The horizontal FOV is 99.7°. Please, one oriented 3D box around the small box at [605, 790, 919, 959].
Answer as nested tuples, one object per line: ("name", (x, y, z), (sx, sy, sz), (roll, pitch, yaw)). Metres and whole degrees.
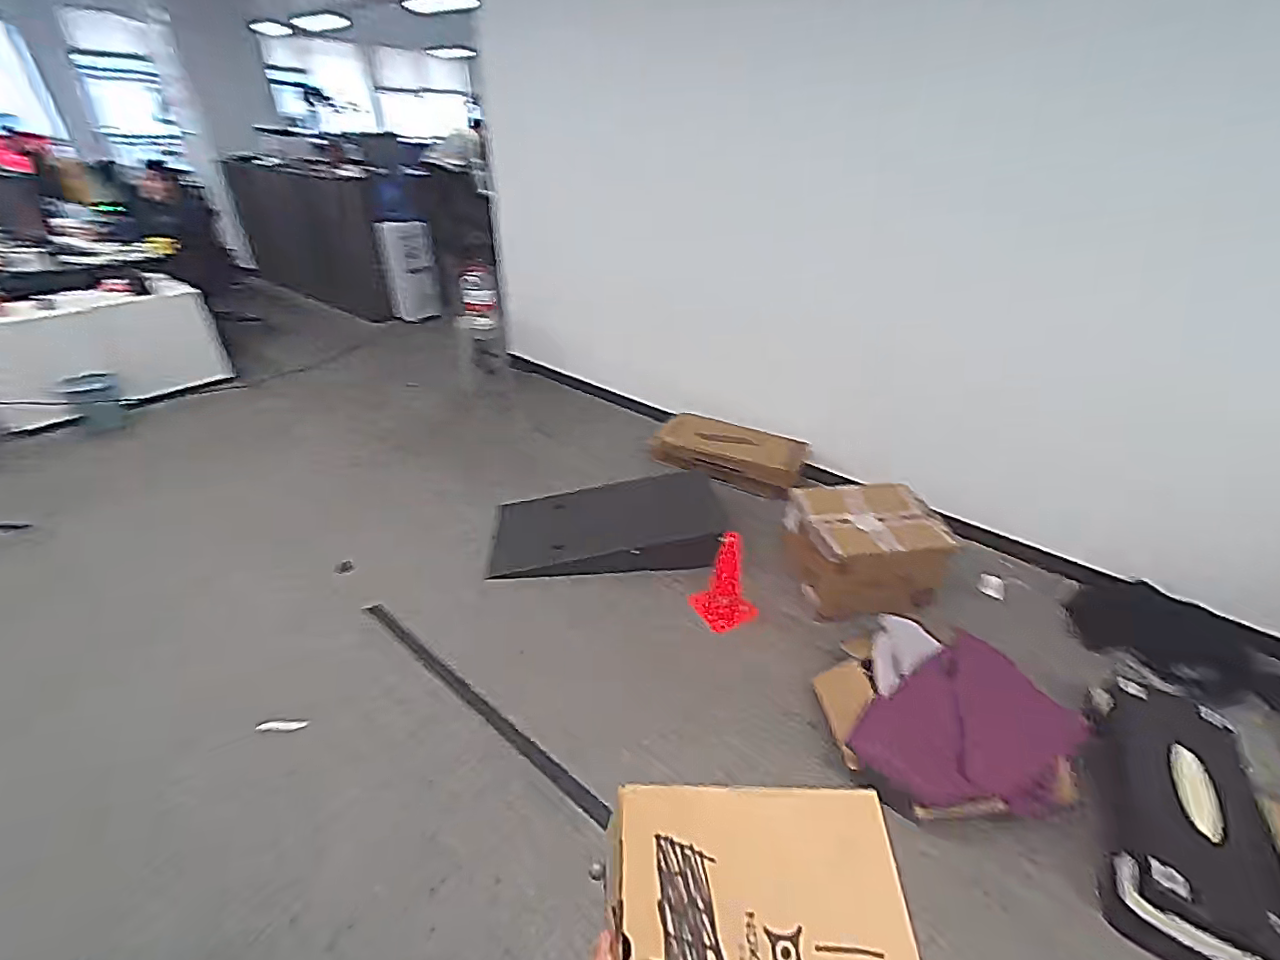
("small box", (0.066, 0.320, 0.362), (0.179, 0.176, 0.168), (3, 48, -5))
